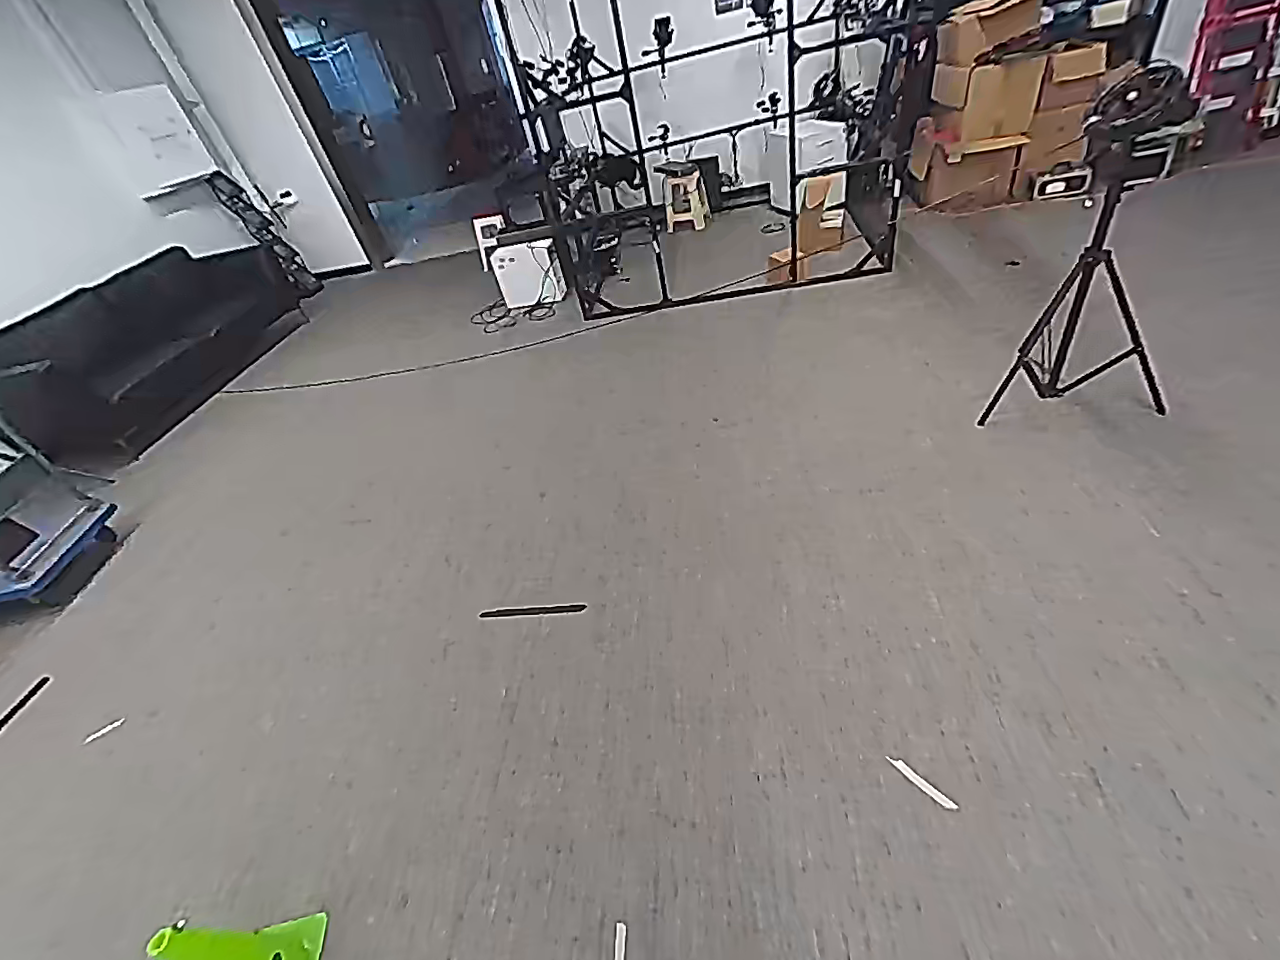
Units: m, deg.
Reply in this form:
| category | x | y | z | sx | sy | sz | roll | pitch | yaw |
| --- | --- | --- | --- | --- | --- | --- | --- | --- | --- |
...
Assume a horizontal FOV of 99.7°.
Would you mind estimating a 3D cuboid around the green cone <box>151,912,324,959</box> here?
| category | x | y | z | sx | sy | sz | roll | pitch | yaw |
| --- | --- | --- | --- | --- | --- | --- | --- | --- | --- |
| green cone | -0.869 | 0.996 | 1.122 | 0.202 | 0.368 | 0.200 | -14 | 39 | -1 |
